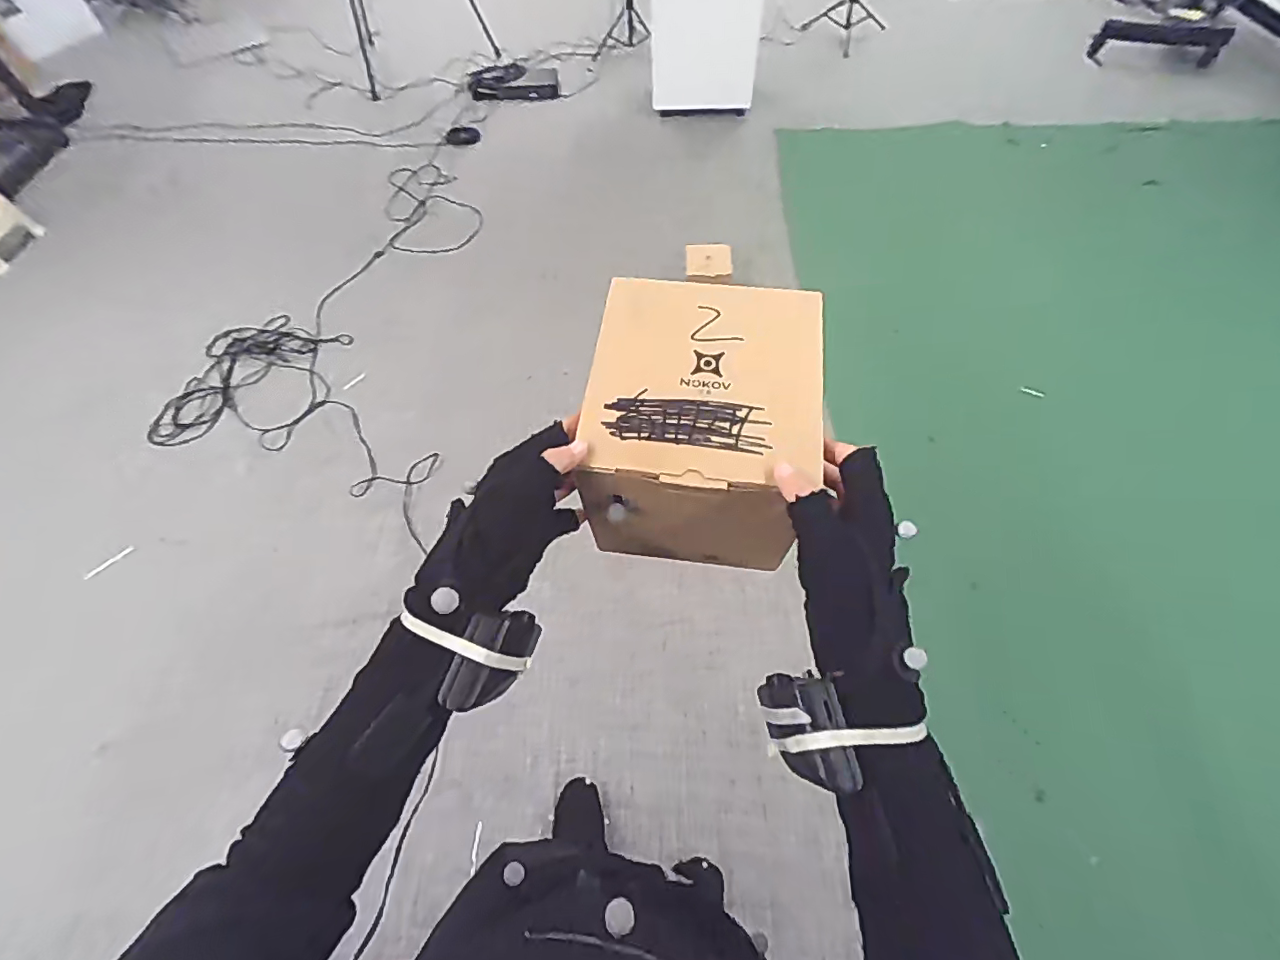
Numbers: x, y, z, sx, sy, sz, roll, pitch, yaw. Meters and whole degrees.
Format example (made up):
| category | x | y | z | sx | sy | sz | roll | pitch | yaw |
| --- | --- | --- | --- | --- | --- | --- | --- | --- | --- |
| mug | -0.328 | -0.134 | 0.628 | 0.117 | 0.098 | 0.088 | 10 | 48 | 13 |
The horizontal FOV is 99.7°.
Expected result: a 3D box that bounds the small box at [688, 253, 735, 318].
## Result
| category | x | y | z | sx | sy | sz | roll | pitch | yaw |
| --- | --- | --- | --- | --- | --- | --- | --- | --- | --- |
| small box | 0.269 | -0.748 | 2.084 | 0.168 | 0.176 | 0.179 | 0 | 59 | 3 |
